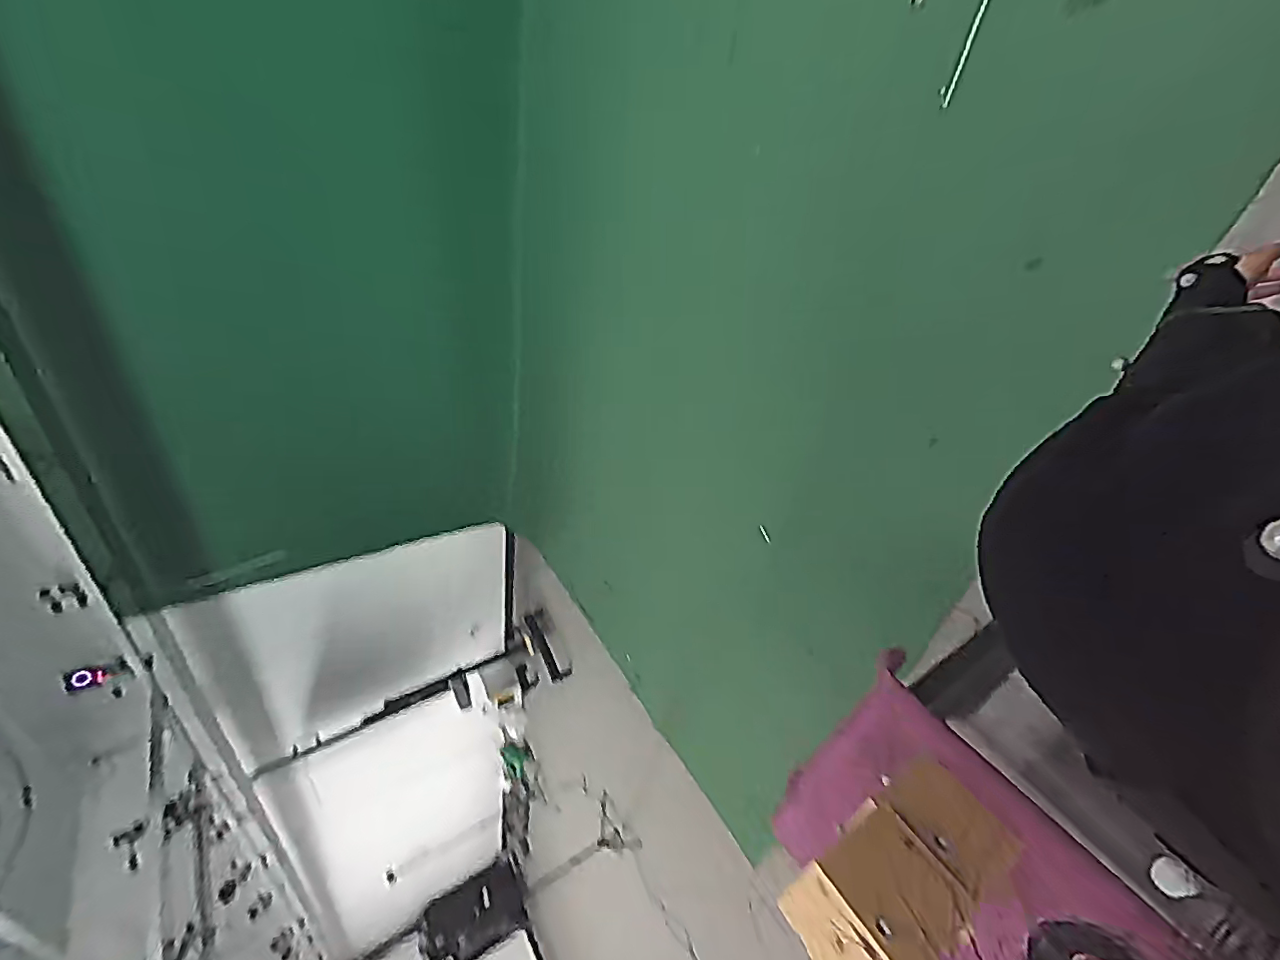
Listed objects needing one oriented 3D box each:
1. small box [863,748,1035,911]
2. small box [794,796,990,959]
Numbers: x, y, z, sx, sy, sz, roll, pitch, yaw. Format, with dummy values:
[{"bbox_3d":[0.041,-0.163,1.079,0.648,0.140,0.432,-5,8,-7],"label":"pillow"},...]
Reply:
[{"bbox_3d":[0.493,0.586,0.885,0.179,0.176,0.168,44,136,40],"label":"small box"},{"bbox_3d":[0.362,0.610,0.787,0.168,0.176,0.179,45,138,37],"label":"small box"}]
